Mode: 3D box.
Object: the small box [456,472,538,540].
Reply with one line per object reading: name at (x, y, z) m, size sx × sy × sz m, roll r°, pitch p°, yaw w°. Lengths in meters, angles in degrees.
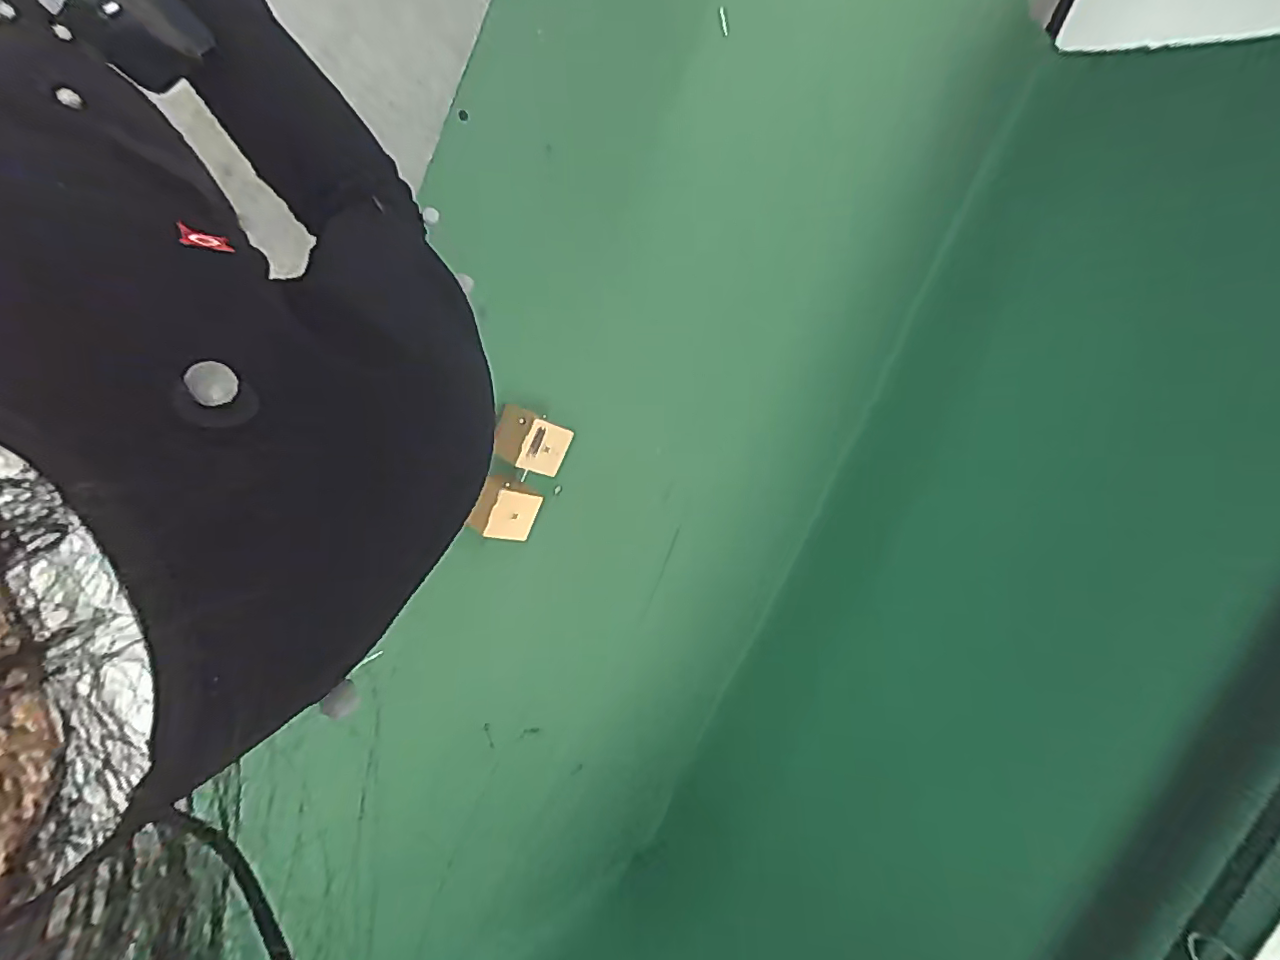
small box at (-0.479, 0.085, 1.806) m, size 0.179 × 0.176 × 0.168 m, roll 15°, pitch 102°, yaw -49°
